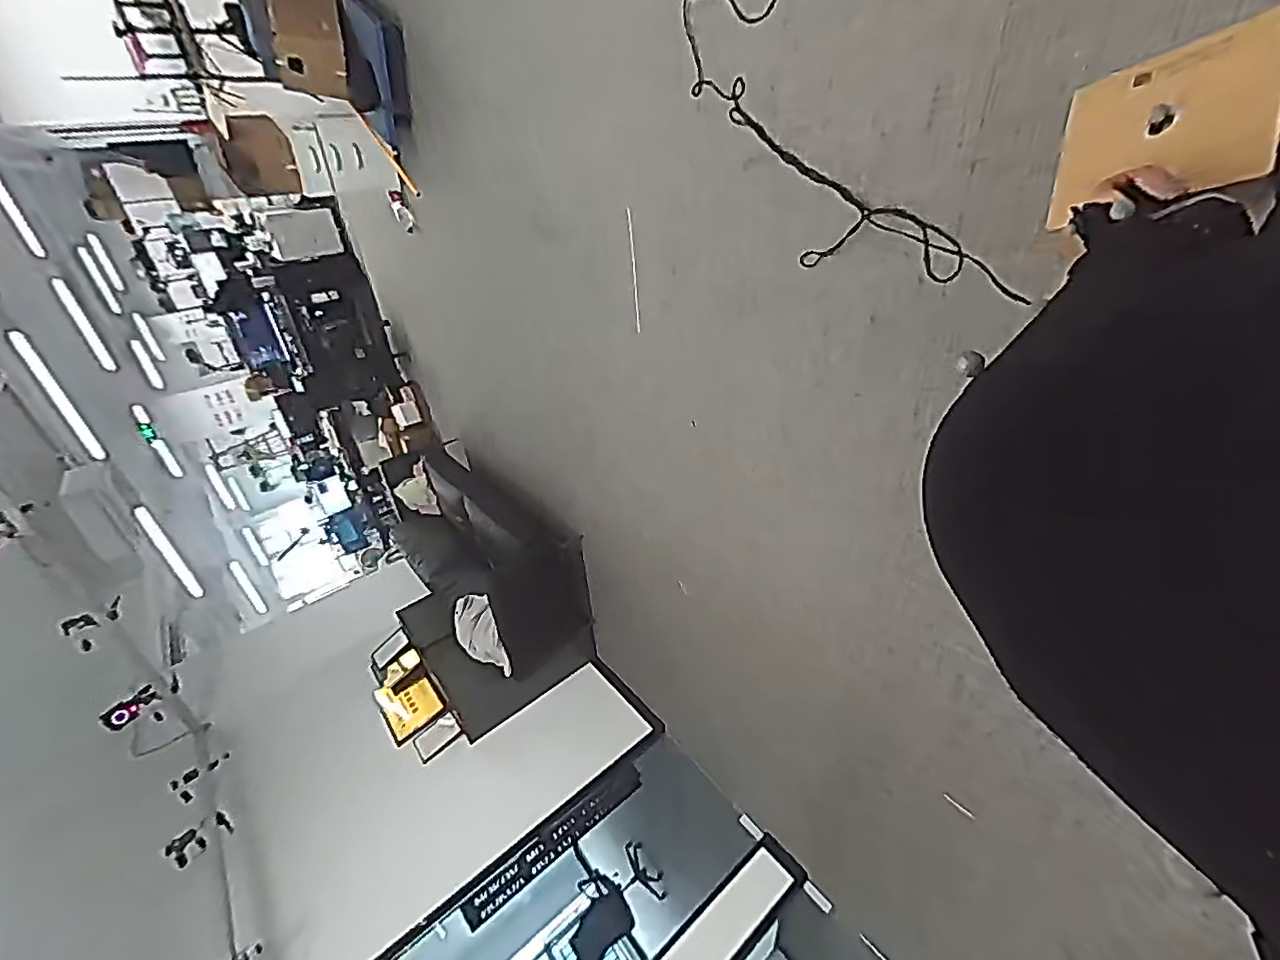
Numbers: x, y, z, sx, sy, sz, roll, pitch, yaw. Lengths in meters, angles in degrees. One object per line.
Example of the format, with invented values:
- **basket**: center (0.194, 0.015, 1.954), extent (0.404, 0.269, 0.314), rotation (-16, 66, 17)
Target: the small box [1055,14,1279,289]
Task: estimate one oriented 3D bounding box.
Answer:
- **small box**: center (0.577, -0.333, 0.572), extent (0.168, 0.179, 0.176), rotation (8, 84, 56)
